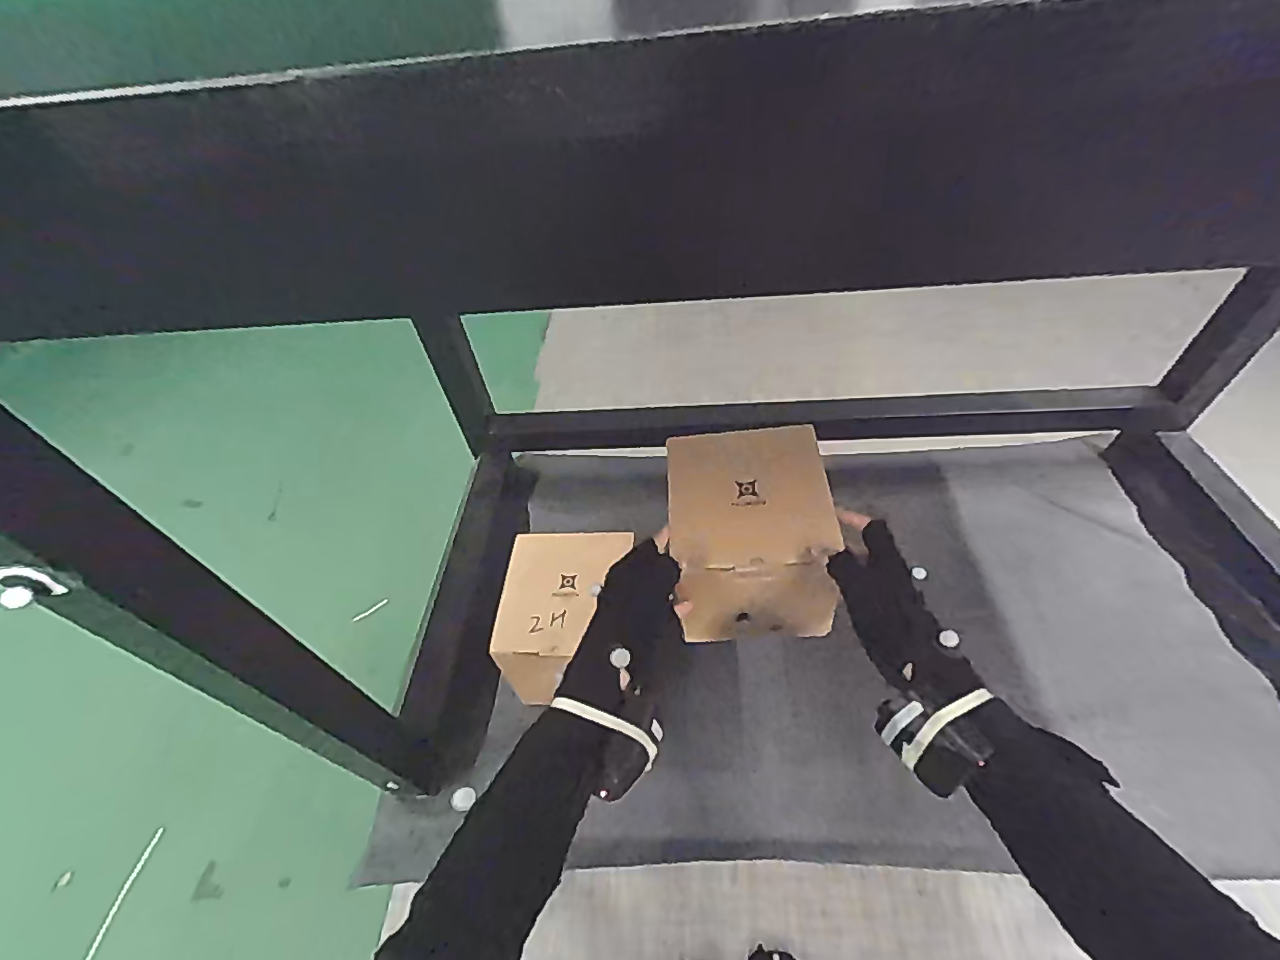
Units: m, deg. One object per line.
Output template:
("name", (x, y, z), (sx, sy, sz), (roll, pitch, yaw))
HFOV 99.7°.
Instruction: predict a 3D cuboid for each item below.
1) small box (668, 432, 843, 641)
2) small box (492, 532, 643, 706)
("small box", (0.120, 0.068, 0.623), (0.168, 0.176, 0.179), (-5, 51, 7))
("small box", (-0.085, 0.190, 0.746), (0.168, 0.176, 0.179), (-1, 48, 5))
